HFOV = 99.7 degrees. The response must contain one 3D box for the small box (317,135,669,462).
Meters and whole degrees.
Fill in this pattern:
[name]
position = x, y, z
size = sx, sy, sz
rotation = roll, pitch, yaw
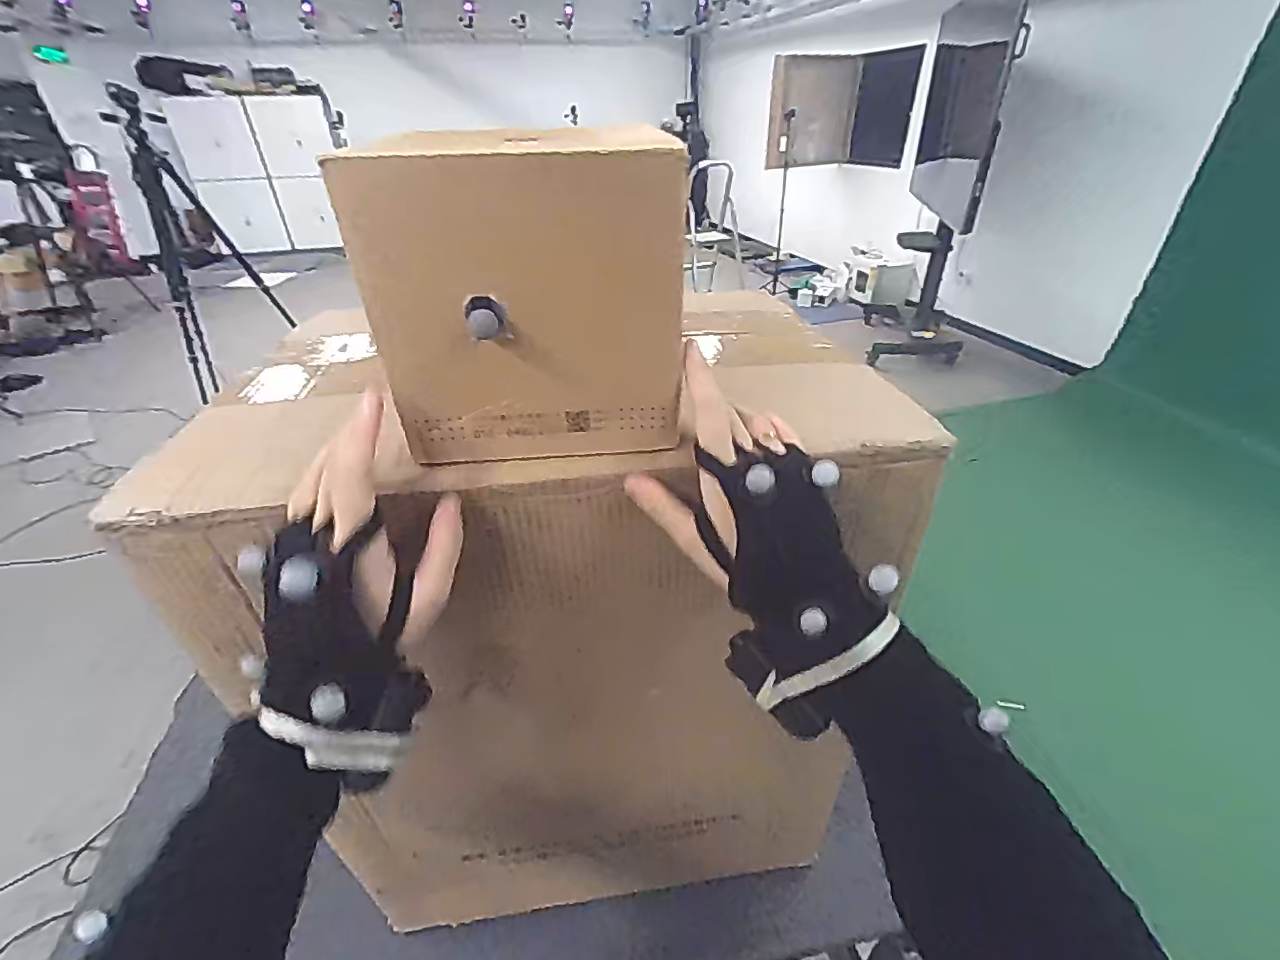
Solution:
[small box]
position = -0.070, -0.121, 0.360
size = 0.168, 0.176, 0.179
rotation = -4, 35, -4
